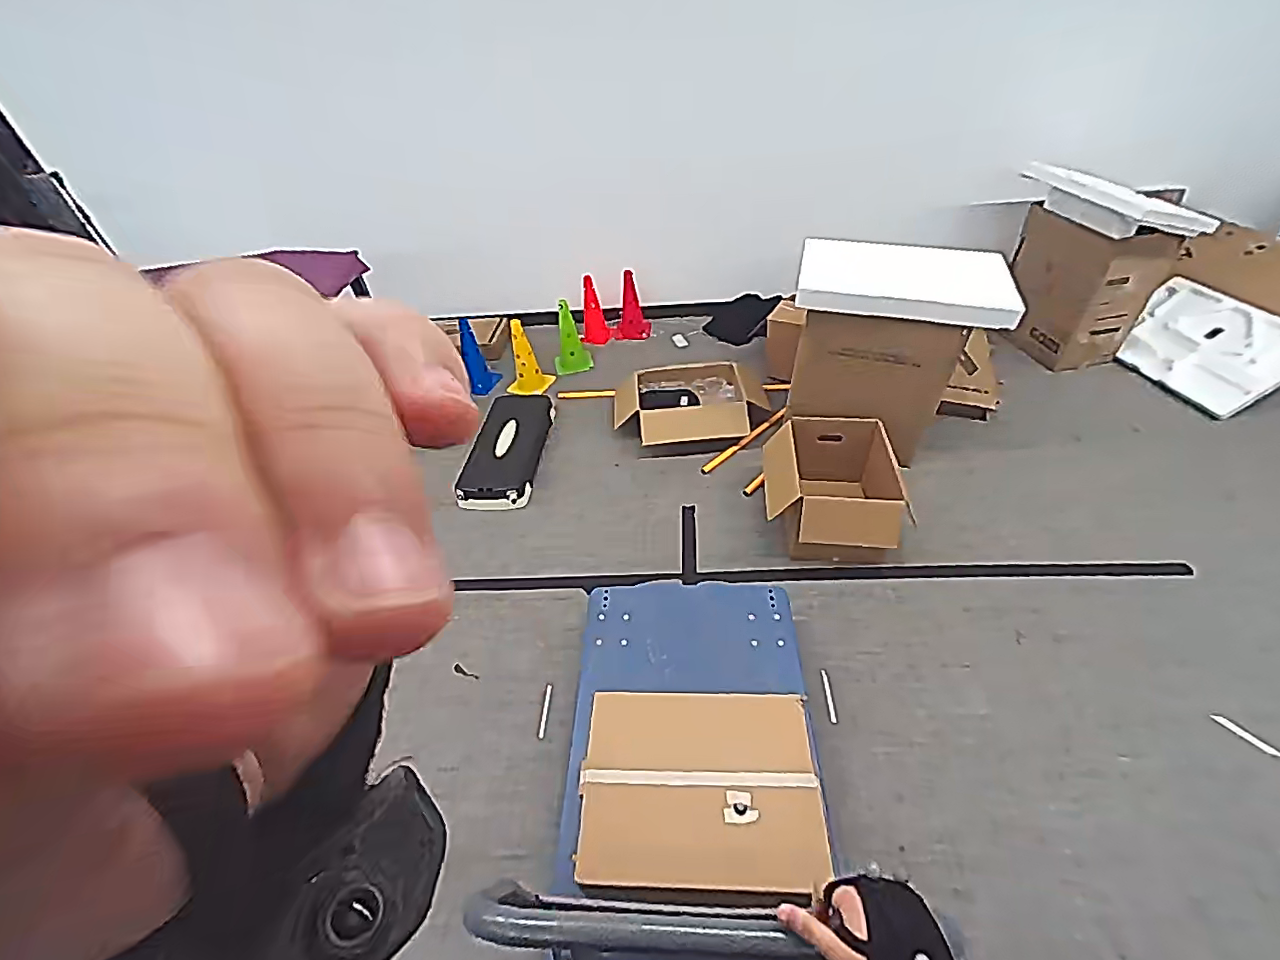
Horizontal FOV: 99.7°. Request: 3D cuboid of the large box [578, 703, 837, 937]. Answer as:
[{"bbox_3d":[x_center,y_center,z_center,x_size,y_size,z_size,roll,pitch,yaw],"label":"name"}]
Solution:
[{"bbox_3d":[0.110,0.645,1.030,0.408,0.320,0.320,-1,43,4],"label":"large box"}]
